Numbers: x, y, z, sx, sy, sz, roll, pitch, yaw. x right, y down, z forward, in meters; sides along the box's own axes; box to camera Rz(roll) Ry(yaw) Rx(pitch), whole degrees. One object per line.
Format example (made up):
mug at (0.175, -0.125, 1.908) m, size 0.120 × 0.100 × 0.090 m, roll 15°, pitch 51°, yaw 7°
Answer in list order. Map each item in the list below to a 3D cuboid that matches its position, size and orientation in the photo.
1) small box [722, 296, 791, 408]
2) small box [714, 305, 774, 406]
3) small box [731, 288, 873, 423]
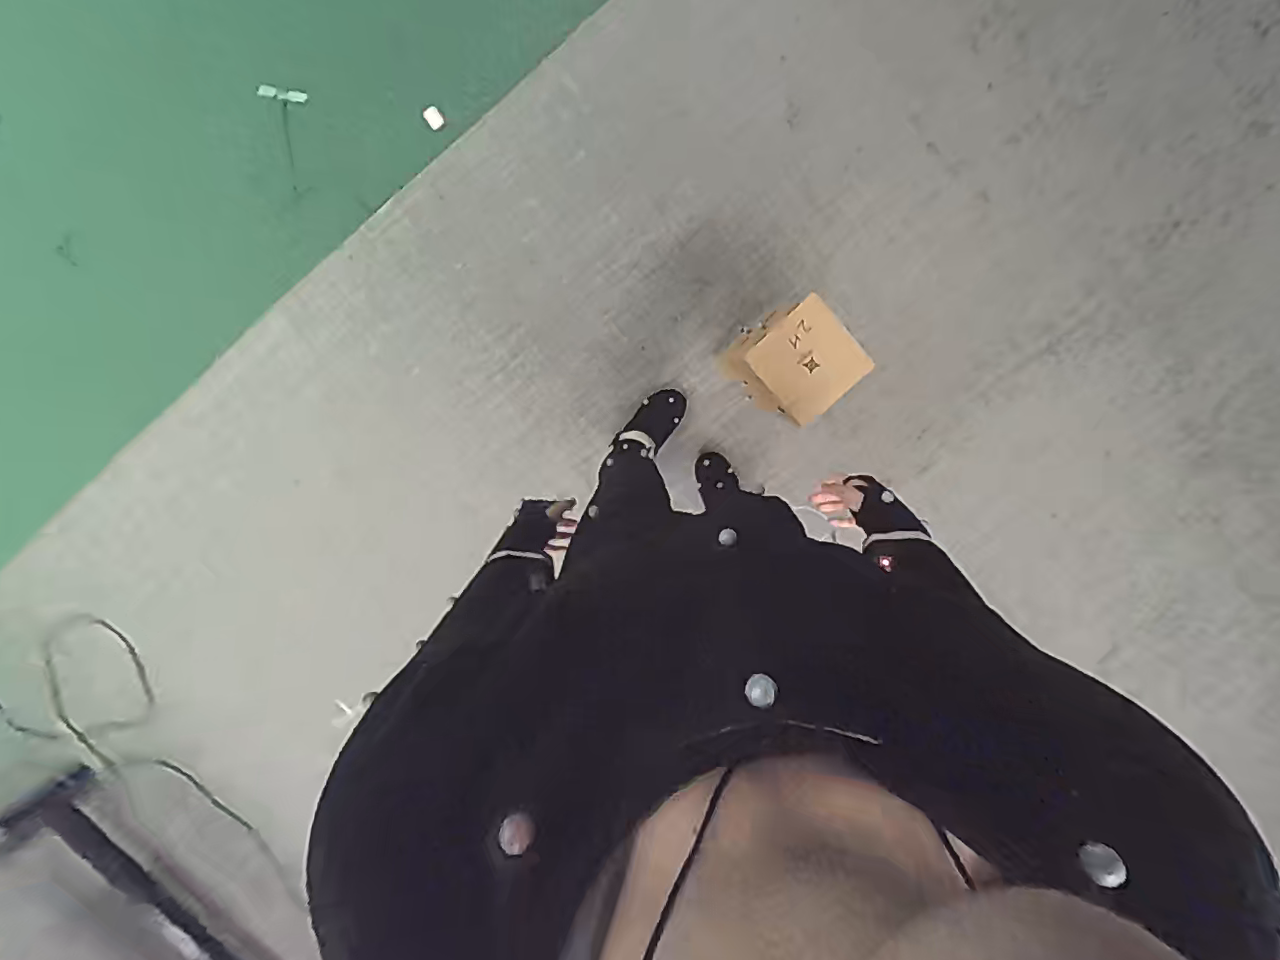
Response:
small box at (0.297, -0.267, 1.180) m, size 0.168 × 0.176 × 0.179 m, roll -42°, pitch 95°, yaw 9°
small box at (0.303, -0.306, 1.340) m, size 0.168 × 0.176 × 0.179 m, roll -42°, pitch 96°, yaw 8°
small box at (0.294, -0.230, 1.019) m, size 0.168 × 0.176 × 0.179 m, roll -41°, pitch 96°, yaw 7°
